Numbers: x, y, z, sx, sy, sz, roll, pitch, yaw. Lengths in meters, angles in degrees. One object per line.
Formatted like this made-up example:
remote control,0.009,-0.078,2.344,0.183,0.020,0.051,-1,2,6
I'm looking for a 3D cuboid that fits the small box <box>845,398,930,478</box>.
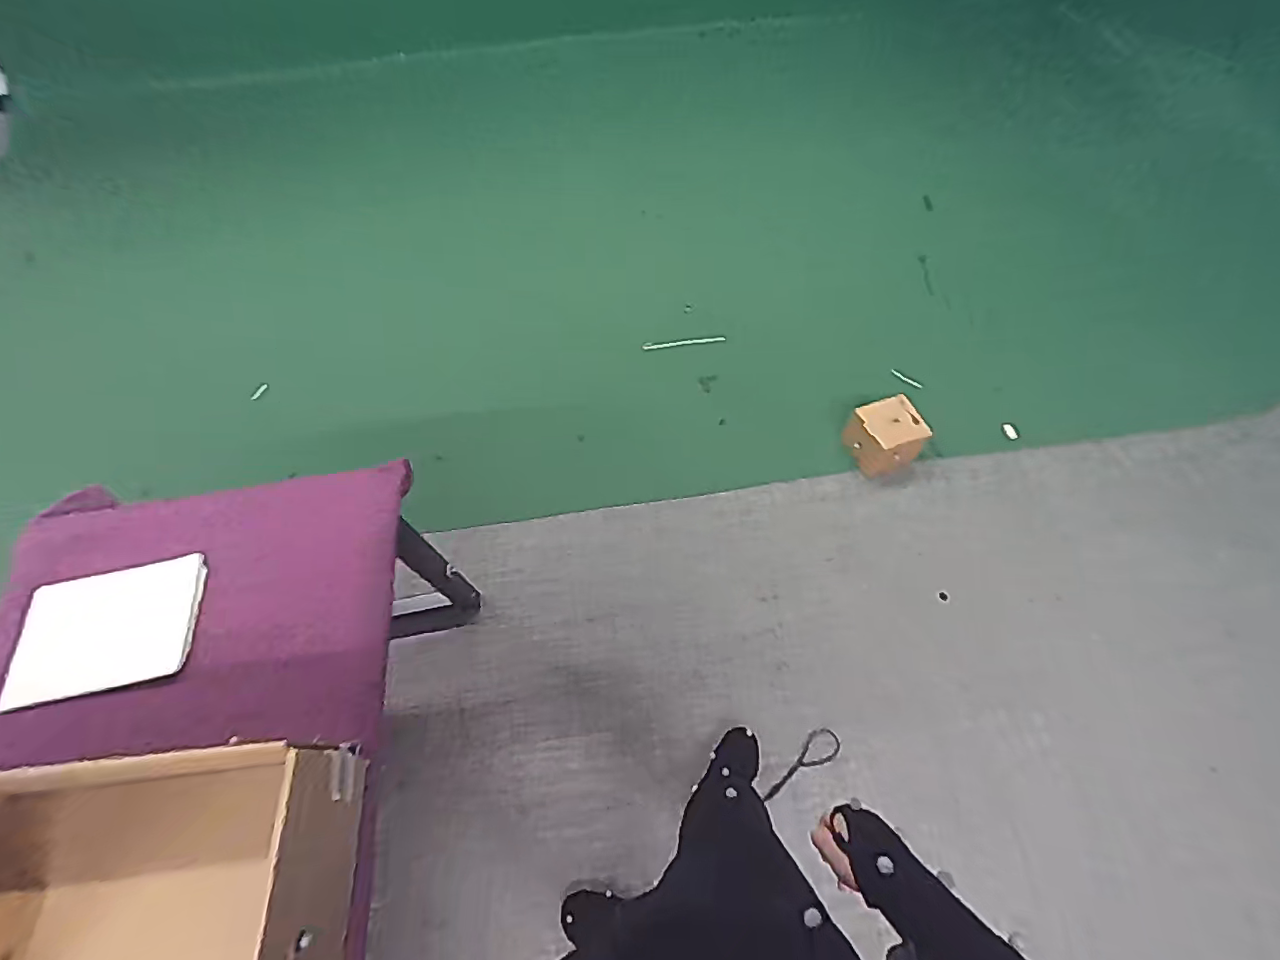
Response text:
small box,0.784,-0.130,1.745,0.179,0.176,0.168,-18,61,-7
